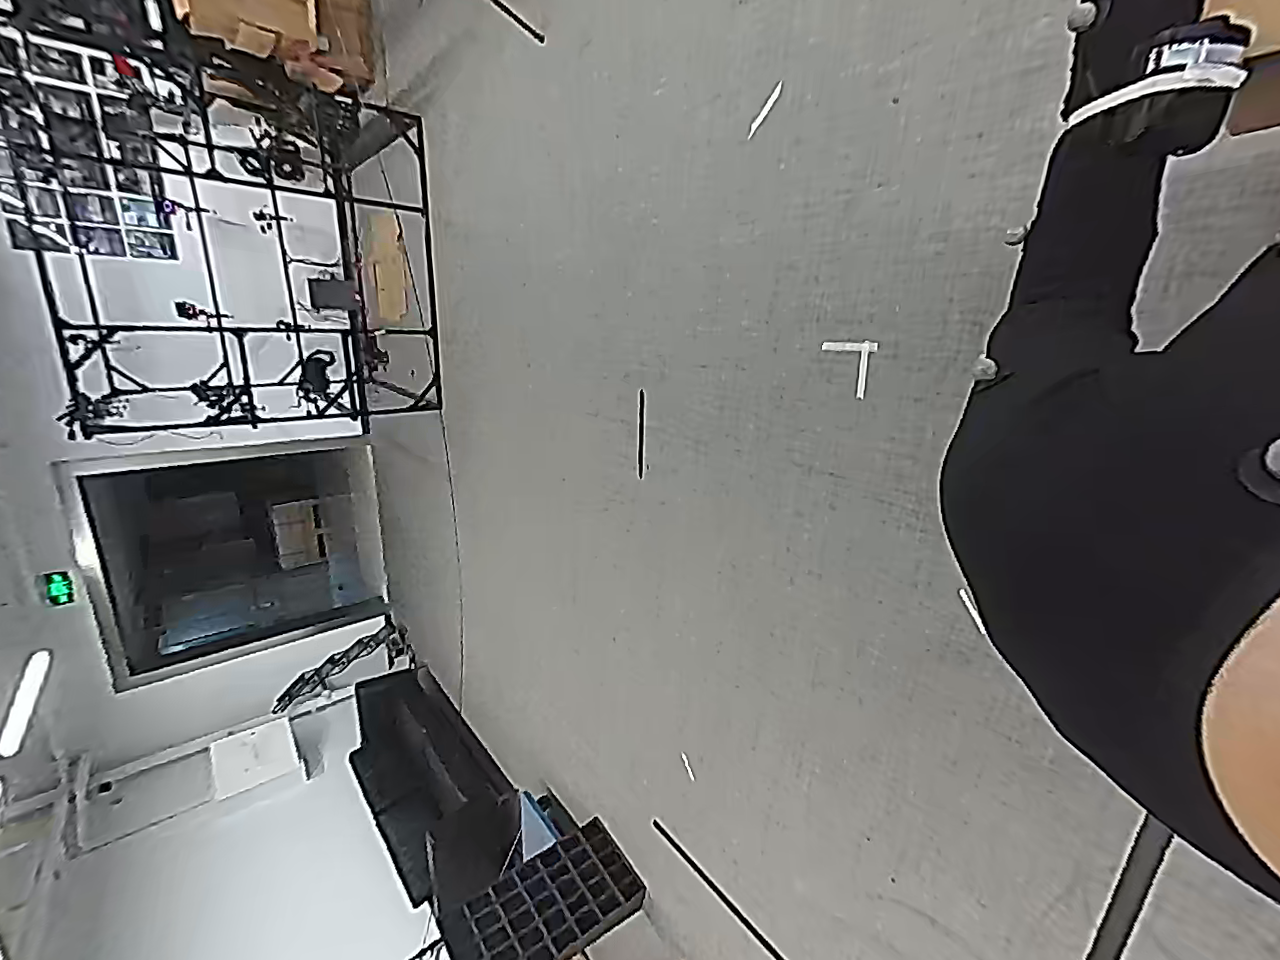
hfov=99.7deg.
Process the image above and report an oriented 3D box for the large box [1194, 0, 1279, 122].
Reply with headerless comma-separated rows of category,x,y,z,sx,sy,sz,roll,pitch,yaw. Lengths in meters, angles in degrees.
large box,0.603,-0.443,0.275,0.408,0.320,0.320,13,115,48
